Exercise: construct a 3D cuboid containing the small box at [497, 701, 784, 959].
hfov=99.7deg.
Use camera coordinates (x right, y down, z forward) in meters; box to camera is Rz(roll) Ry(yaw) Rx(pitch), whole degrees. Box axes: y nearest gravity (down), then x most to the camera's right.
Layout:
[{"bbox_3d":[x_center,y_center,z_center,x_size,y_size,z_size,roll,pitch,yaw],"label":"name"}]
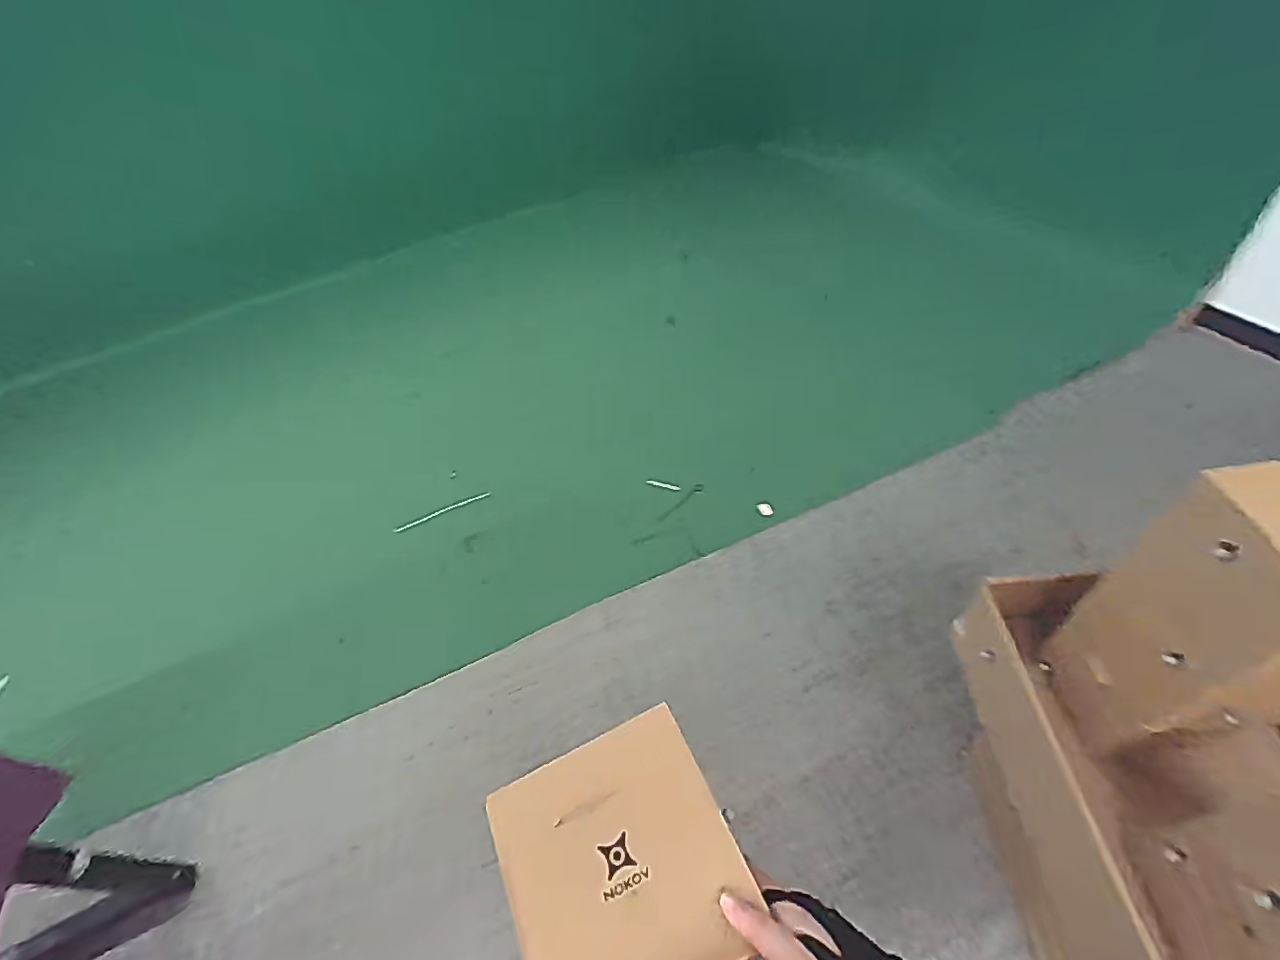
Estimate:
[{"bbox_3d":[0.000,0.326,0.458,0.168,0.176,0.179,-22,51,-11],"label":"small box"}]
